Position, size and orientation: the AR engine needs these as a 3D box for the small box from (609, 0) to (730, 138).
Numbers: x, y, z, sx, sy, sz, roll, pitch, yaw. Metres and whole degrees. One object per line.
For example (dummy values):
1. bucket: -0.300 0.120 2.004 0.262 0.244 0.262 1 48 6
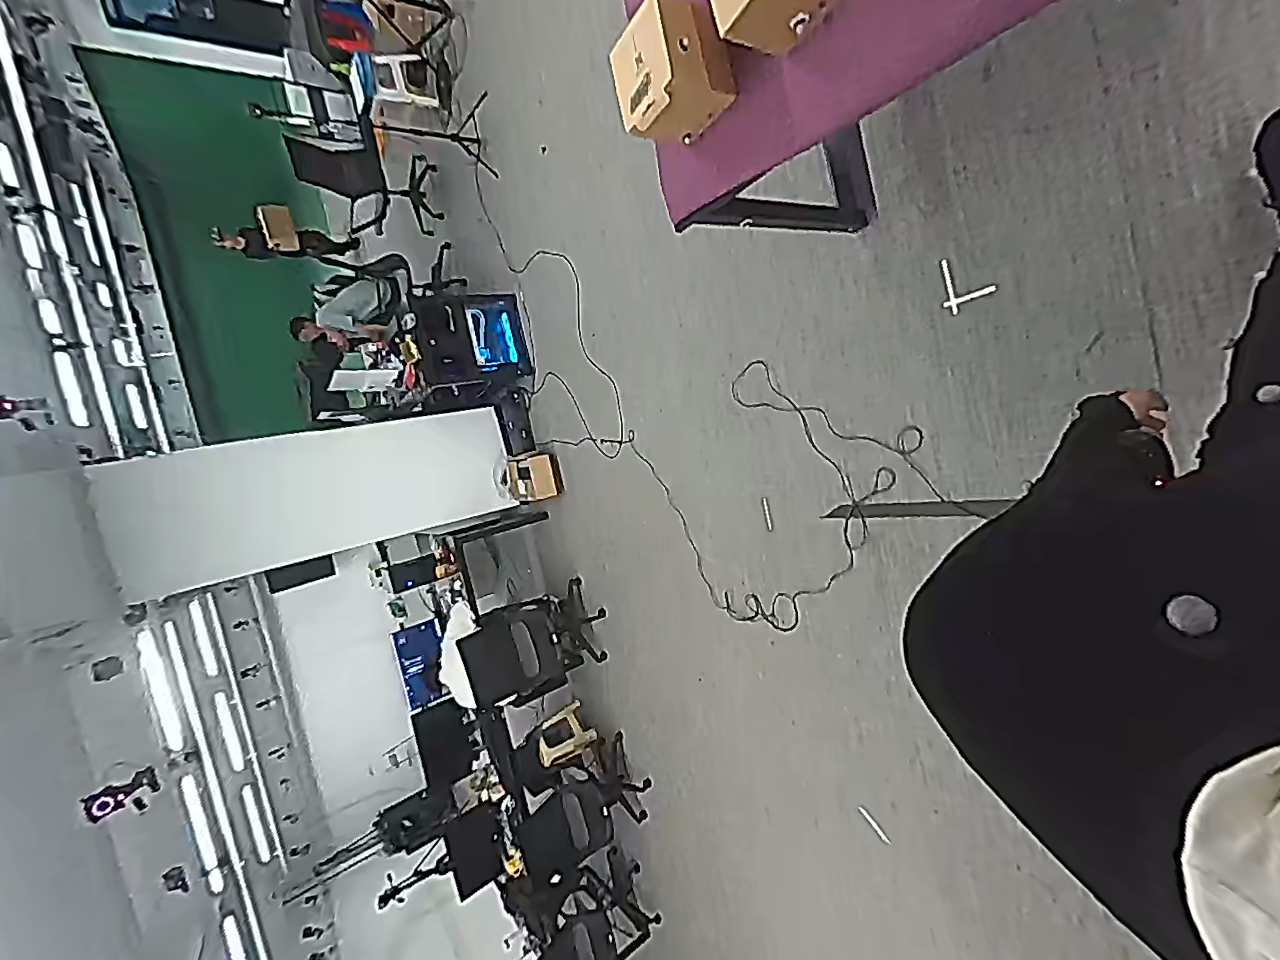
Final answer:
1. small box: 0.063 -0.831 1.104 0.168 0.176 0.179 -11 92 56

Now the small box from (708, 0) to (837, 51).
1. small box: 0.217 -0.852 0.878 0.168 0.176 0.179 -16 89 57
